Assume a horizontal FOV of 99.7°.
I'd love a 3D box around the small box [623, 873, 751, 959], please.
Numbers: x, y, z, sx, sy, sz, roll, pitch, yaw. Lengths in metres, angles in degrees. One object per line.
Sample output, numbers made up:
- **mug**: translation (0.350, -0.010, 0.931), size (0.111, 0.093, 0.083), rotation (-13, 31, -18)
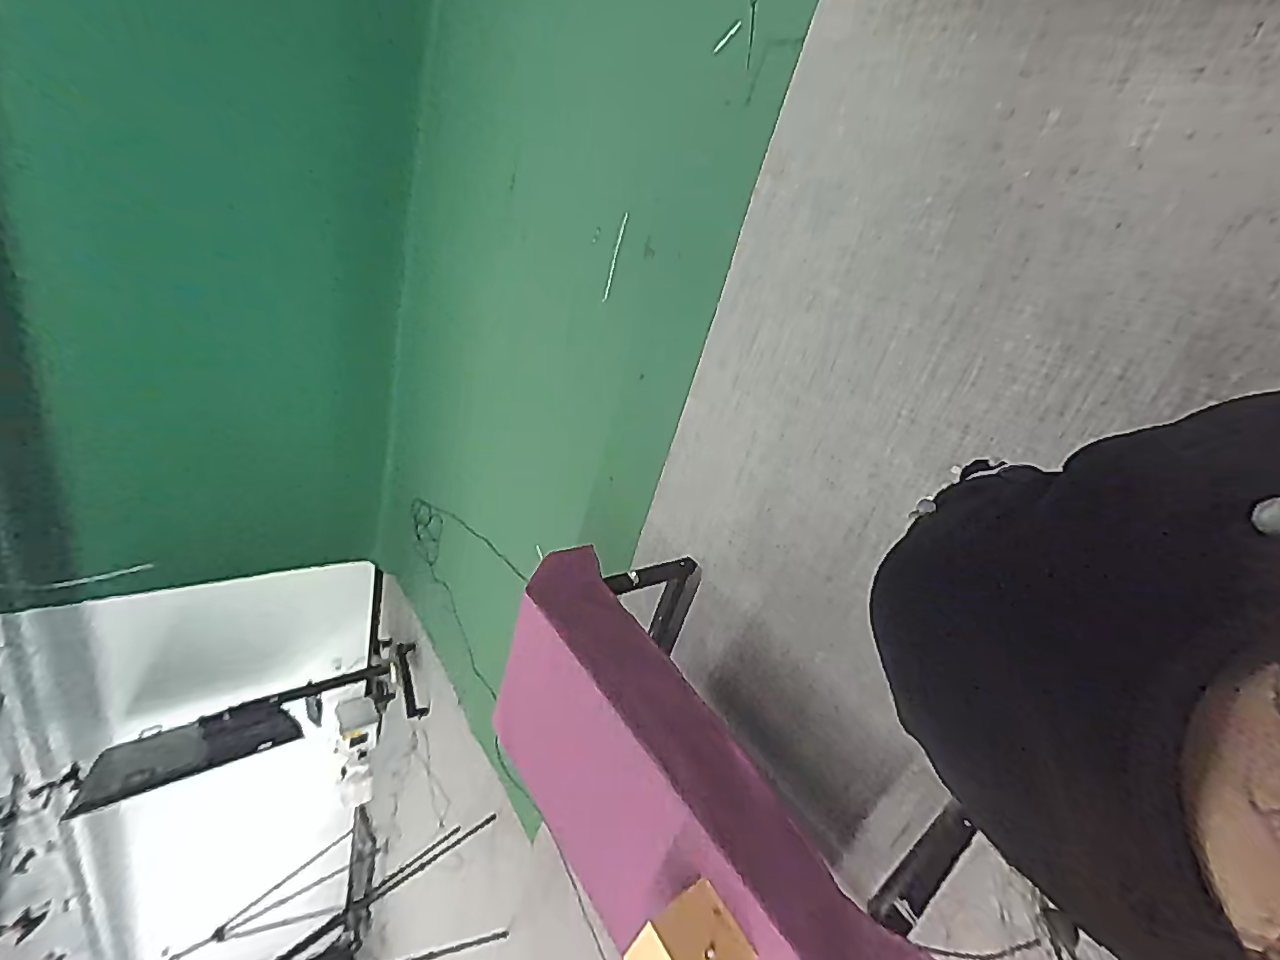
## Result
- **small box**: translation (0.098, 0.951, 1.096), size (0.168, 0.176, 0.179), rotation (44, 126, 37)
